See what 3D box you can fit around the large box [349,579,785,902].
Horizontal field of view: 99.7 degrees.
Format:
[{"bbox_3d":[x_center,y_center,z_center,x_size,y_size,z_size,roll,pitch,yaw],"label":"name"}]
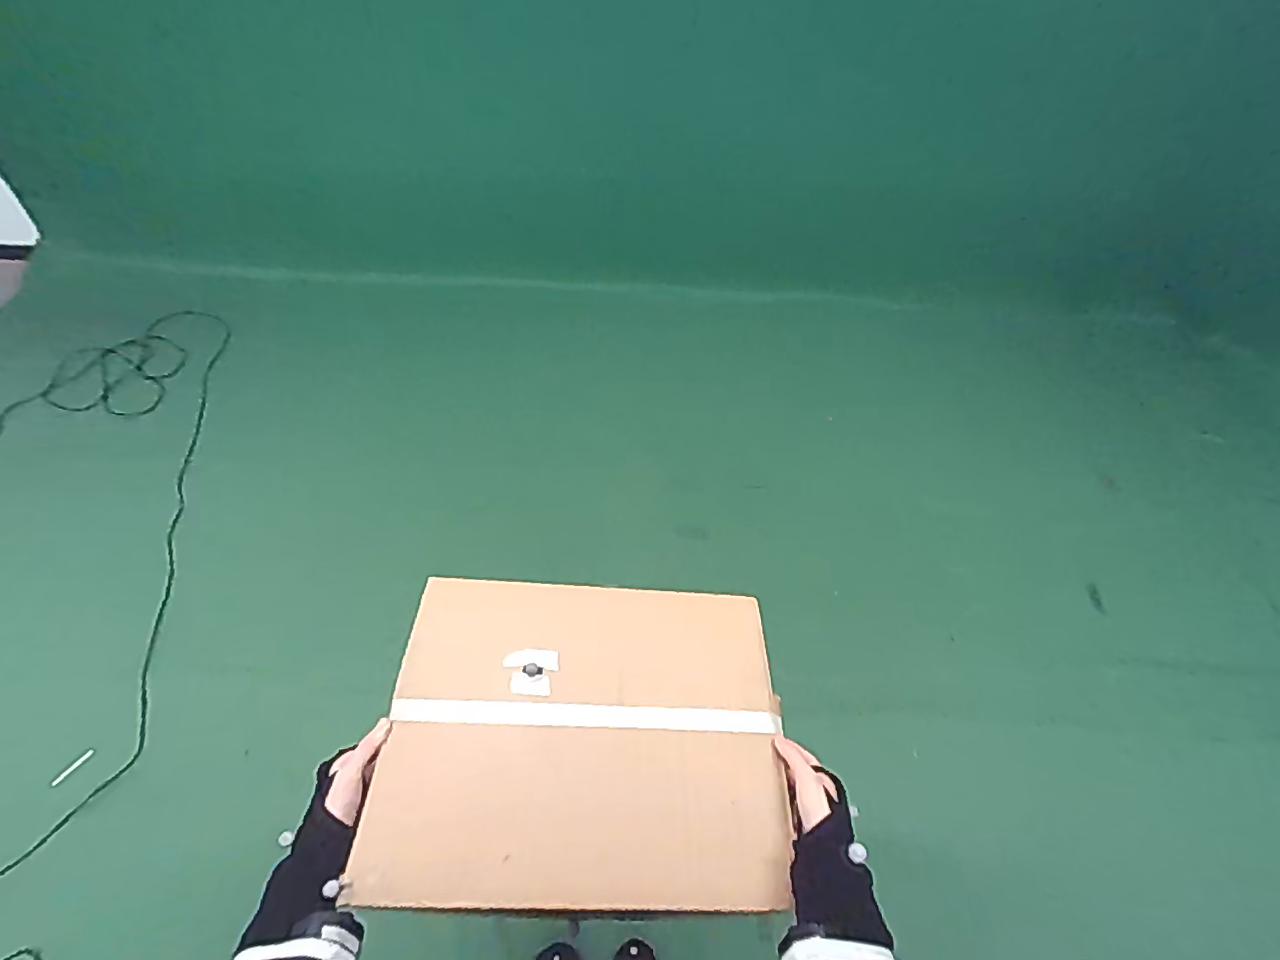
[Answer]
[{"bbox_3d":[-0.072,0.345,0.698,0.408,0.320,0.320,5,50,-4],"label":"large box"}]
